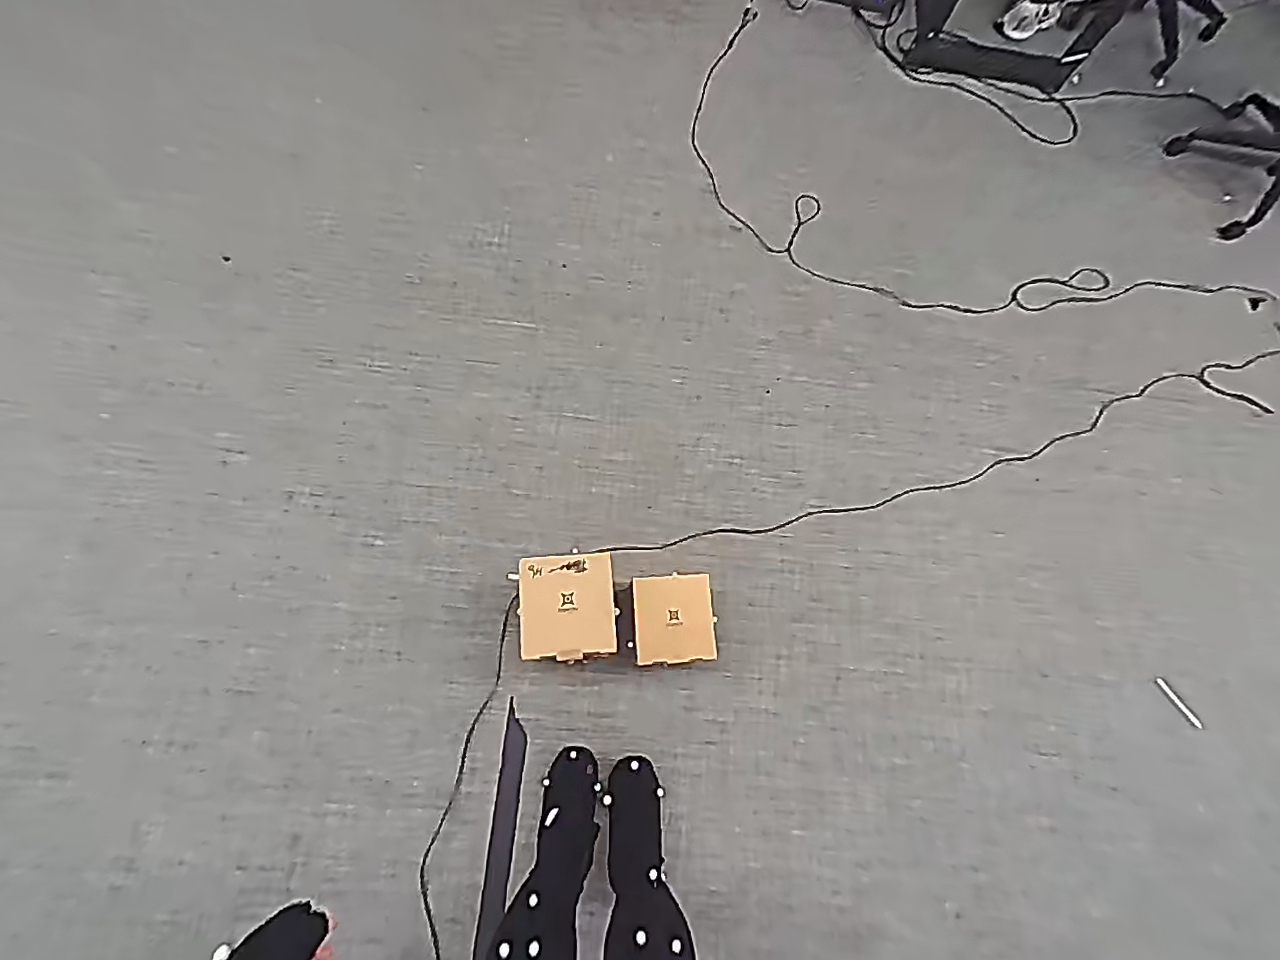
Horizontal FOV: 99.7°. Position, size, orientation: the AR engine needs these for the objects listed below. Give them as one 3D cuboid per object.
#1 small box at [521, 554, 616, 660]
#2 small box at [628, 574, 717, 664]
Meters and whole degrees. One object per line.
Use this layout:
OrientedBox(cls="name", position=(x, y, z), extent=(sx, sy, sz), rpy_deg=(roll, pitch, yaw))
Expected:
OrientedBox(cls="small box", position=(-0.134, 0.240, 1.023), extent=(0.168, 0.176, 0.179), rpy_deg=(-2, 74, -7))
OrientedBox(cls="small box", position=(0.065, 0.308, 1.195), extent=(0.168, 0.176, 0.179), rpy_deg=(-2, 74, -6))
